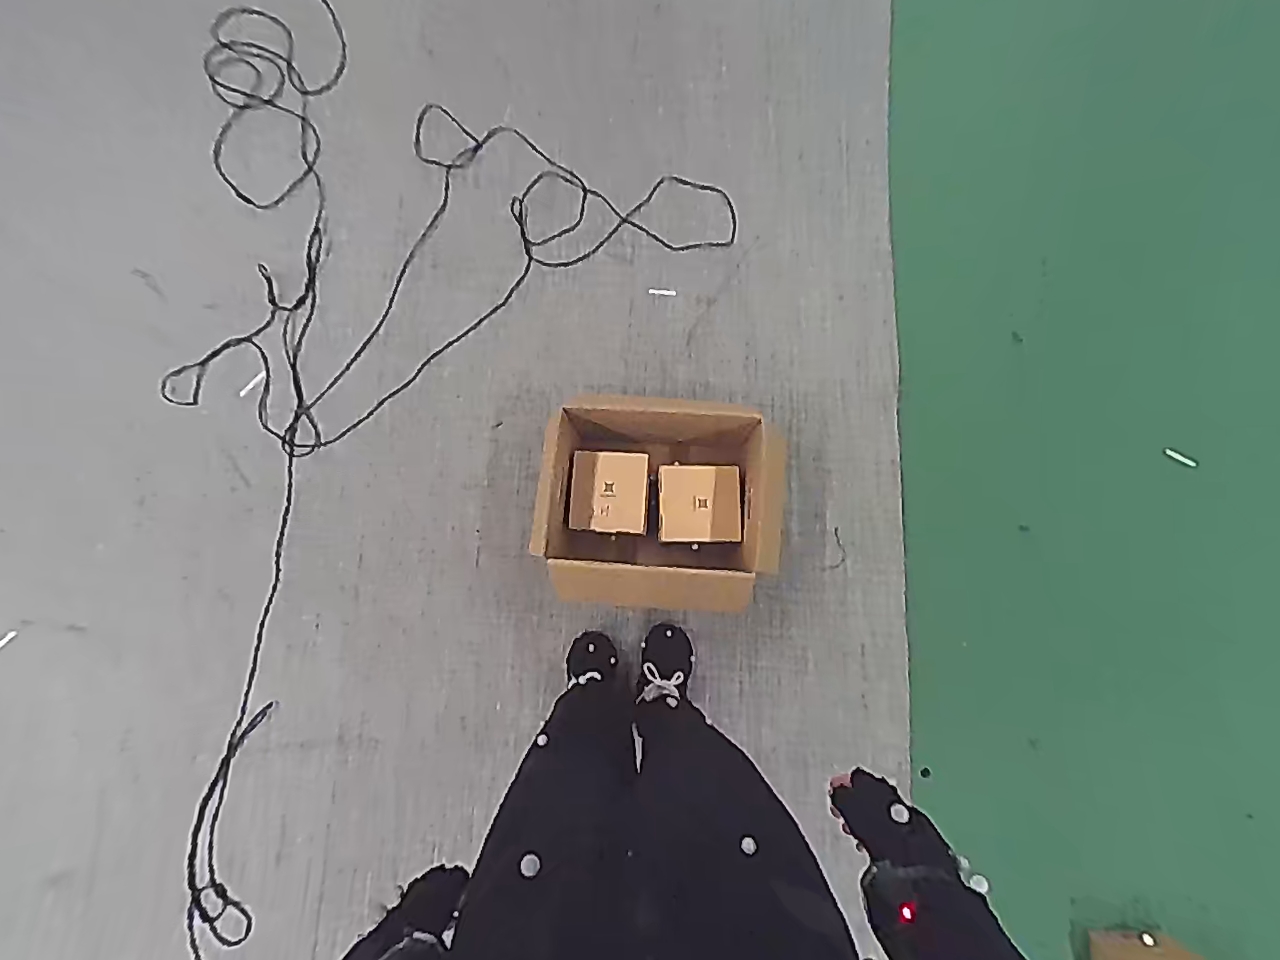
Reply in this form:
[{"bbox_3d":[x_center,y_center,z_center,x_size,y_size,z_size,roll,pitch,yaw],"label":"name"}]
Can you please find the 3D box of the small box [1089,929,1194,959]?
[{"bbox_3d":[1.059,1.061,1.091,0.168,0.176,0.179,0,80,1],"label":"small box"}]
